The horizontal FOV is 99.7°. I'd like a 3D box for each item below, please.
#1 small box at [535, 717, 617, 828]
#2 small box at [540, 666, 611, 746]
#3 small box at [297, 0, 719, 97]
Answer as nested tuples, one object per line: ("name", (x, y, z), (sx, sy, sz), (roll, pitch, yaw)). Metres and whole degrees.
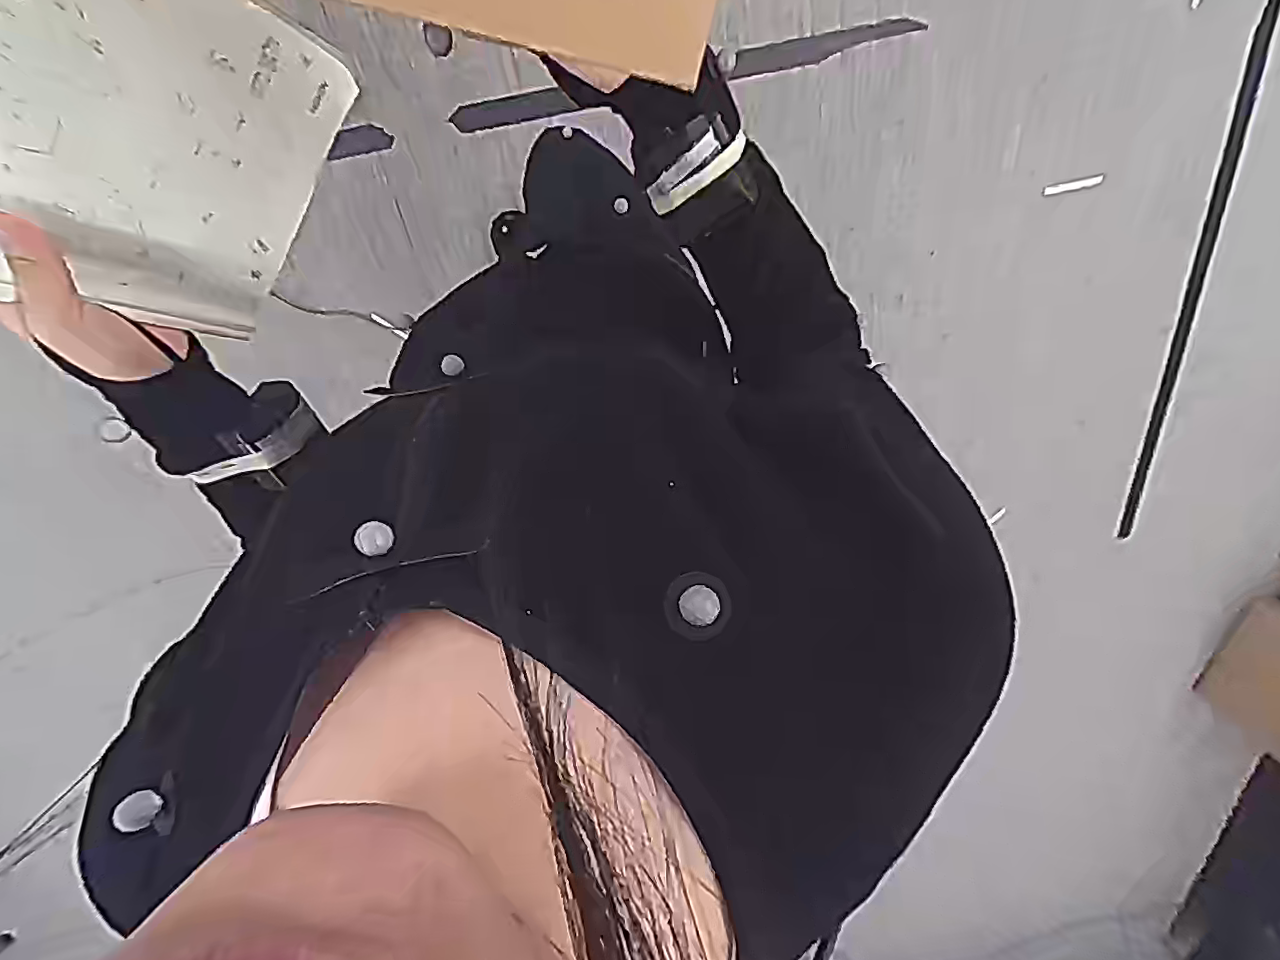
("small box", (-0.156, 0.709, 1.329), (0.168, 0.176, 0.179), (-10, 117, -1))
("small box", (-0.175, 0.626, 1.470), (0.168, 0.176, 0.179), (-8, 118, -3))
("small box", (-0.055, -0.252, 0.167), (0.168, 0.176, 0.179), (1, 131, -18))
